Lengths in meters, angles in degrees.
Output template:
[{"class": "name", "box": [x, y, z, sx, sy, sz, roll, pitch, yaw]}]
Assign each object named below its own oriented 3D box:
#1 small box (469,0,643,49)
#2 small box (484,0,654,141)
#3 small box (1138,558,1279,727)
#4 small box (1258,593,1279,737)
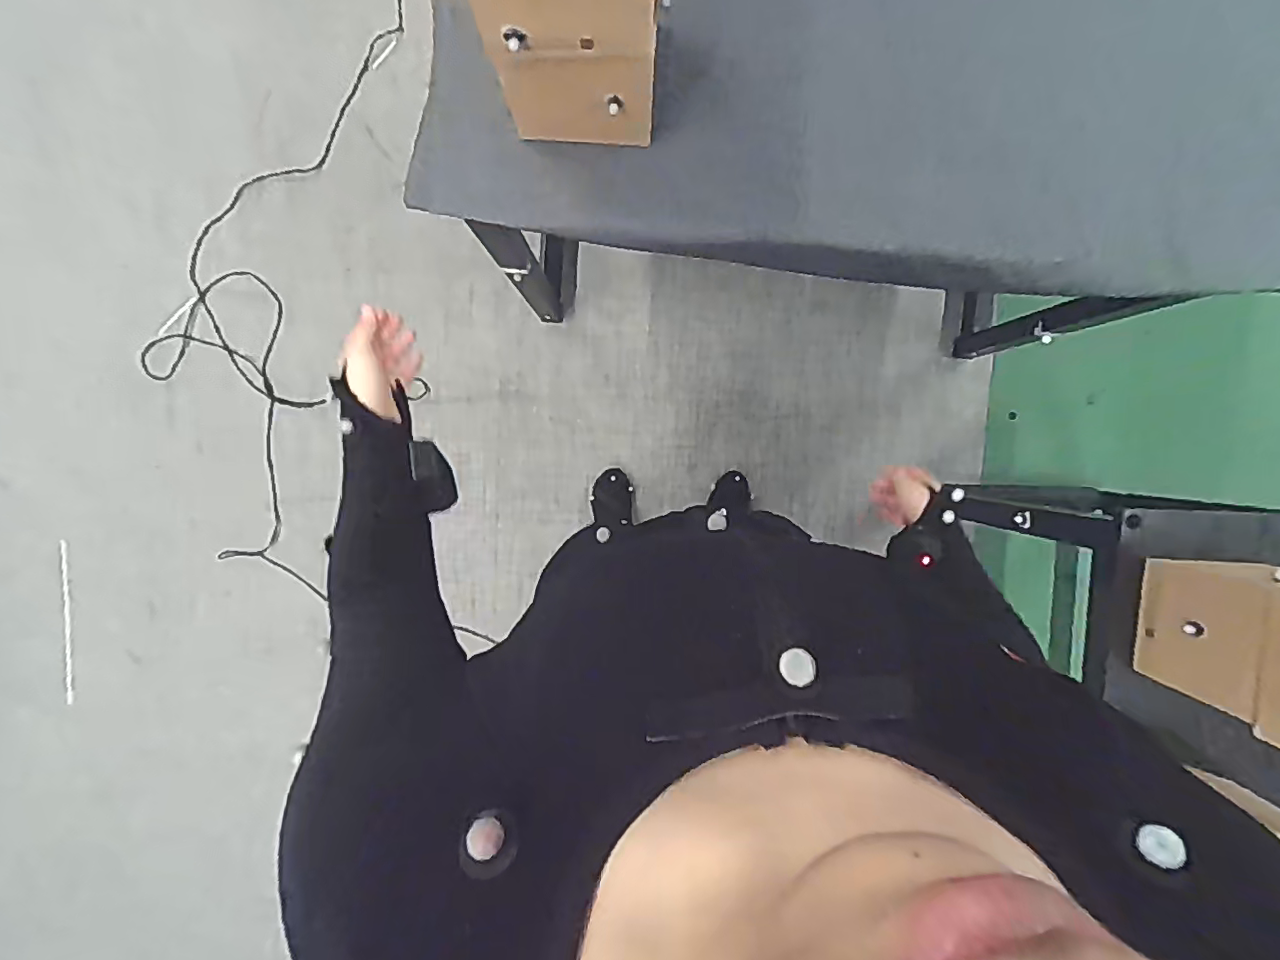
[{"class": "small box", "box": [-0.081, -0.522, 0.474, 0.168, 0.176, 0.179, -1, 91, -1]}, {"class": "small box", "box": [-0.072, -0.531, 0.638, 0.179, 0.176, 0.168, 3, 92, 0]}, {"class": "small box", "box": [0.796, 0.199, 0.688, 0.179, 0.176, 0.168, 3, 95, 0]}, {"class": "small box", "box": [0.780, 0.217, 0.527, 0.168, 0.176, 0.179, 3, 94, 0]}]
